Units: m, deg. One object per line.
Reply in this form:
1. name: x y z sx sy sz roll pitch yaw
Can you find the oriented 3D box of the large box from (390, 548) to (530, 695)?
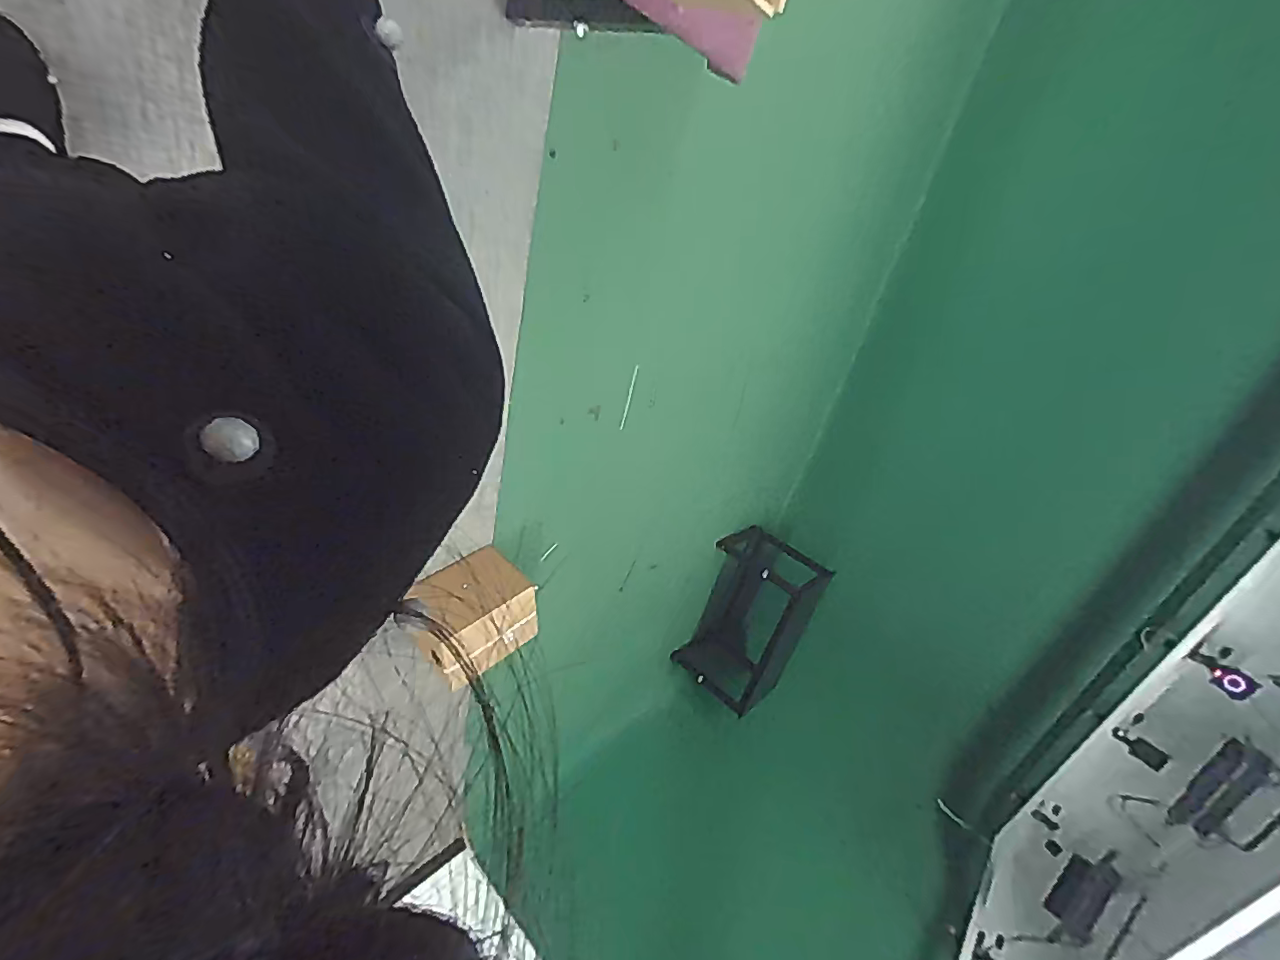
1. large box: -0.696 0.541 2.130 0.408 0.320 0.320 -31 141 -38
